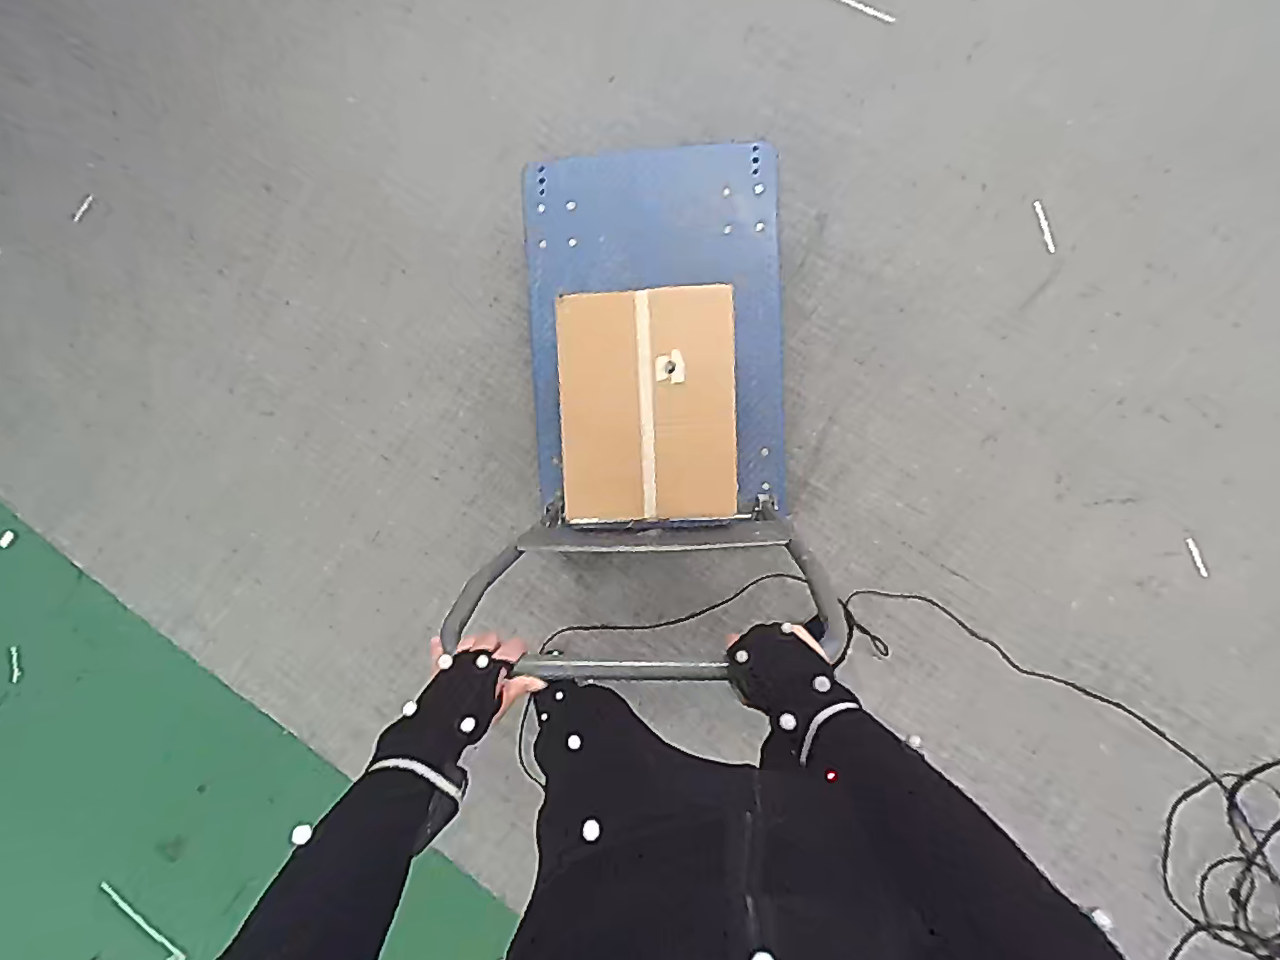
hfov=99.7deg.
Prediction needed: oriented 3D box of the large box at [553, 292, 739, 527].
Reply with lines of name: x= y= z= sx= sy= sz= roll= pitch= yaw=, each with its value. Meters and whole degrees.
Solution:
large box: x=0.026 y=-0.129 z=1.112 sx=0.320 sy=0.320 sz=0.408 roll=-3 pitch=93 yaw=6
